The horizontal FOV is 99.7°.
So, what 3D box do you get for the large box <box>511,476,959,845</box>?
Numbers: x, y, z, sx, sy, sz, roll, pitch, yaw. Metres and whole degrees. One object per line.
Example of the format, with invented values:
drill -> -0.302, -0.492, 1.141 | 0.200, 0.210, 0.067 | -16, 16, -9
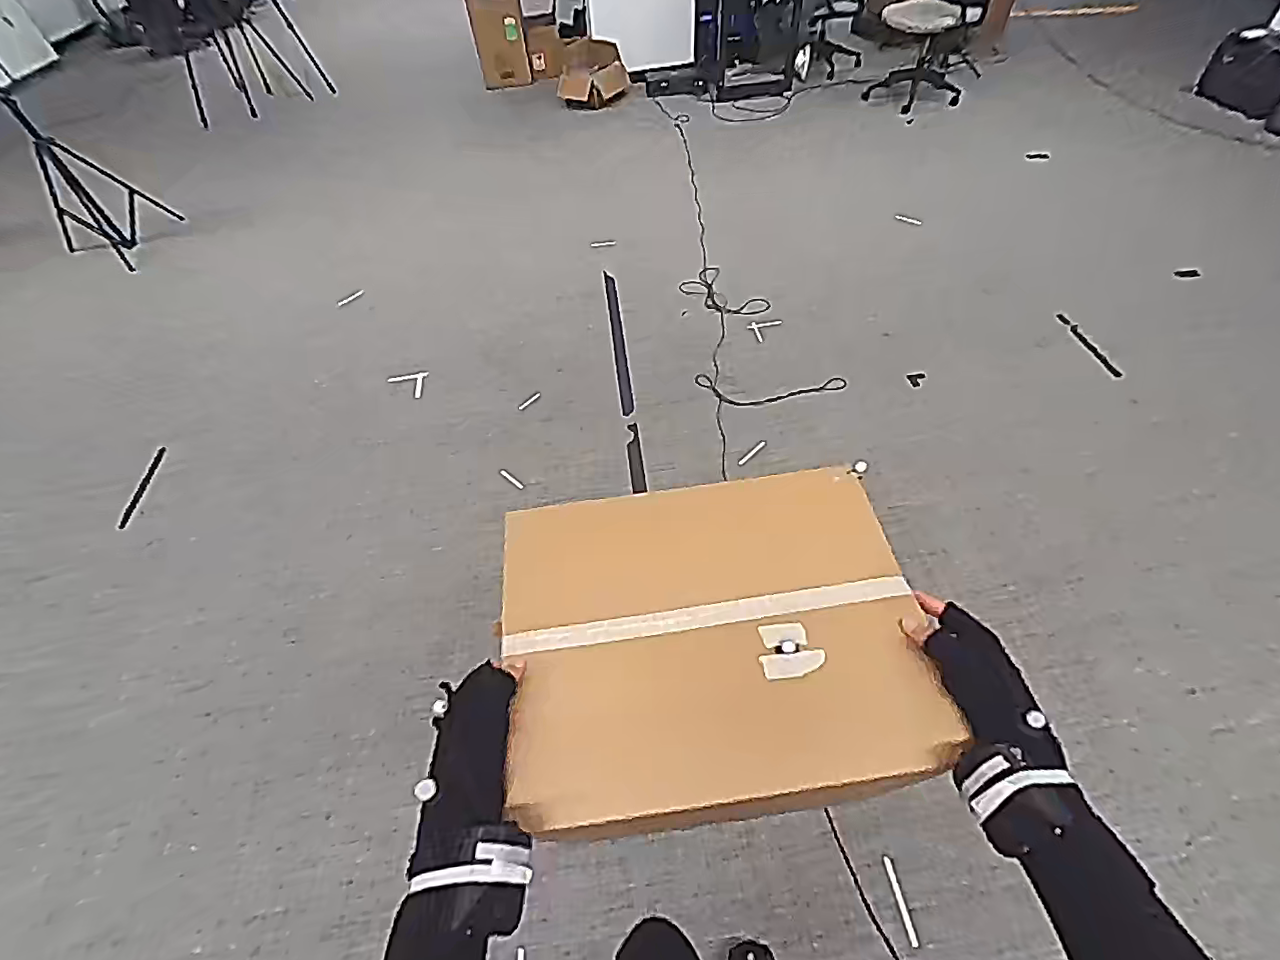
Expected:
large box -> 0.073, 0.233, 0.675 | 0.408, 0.320, 0.320 | -8, 55, -3
